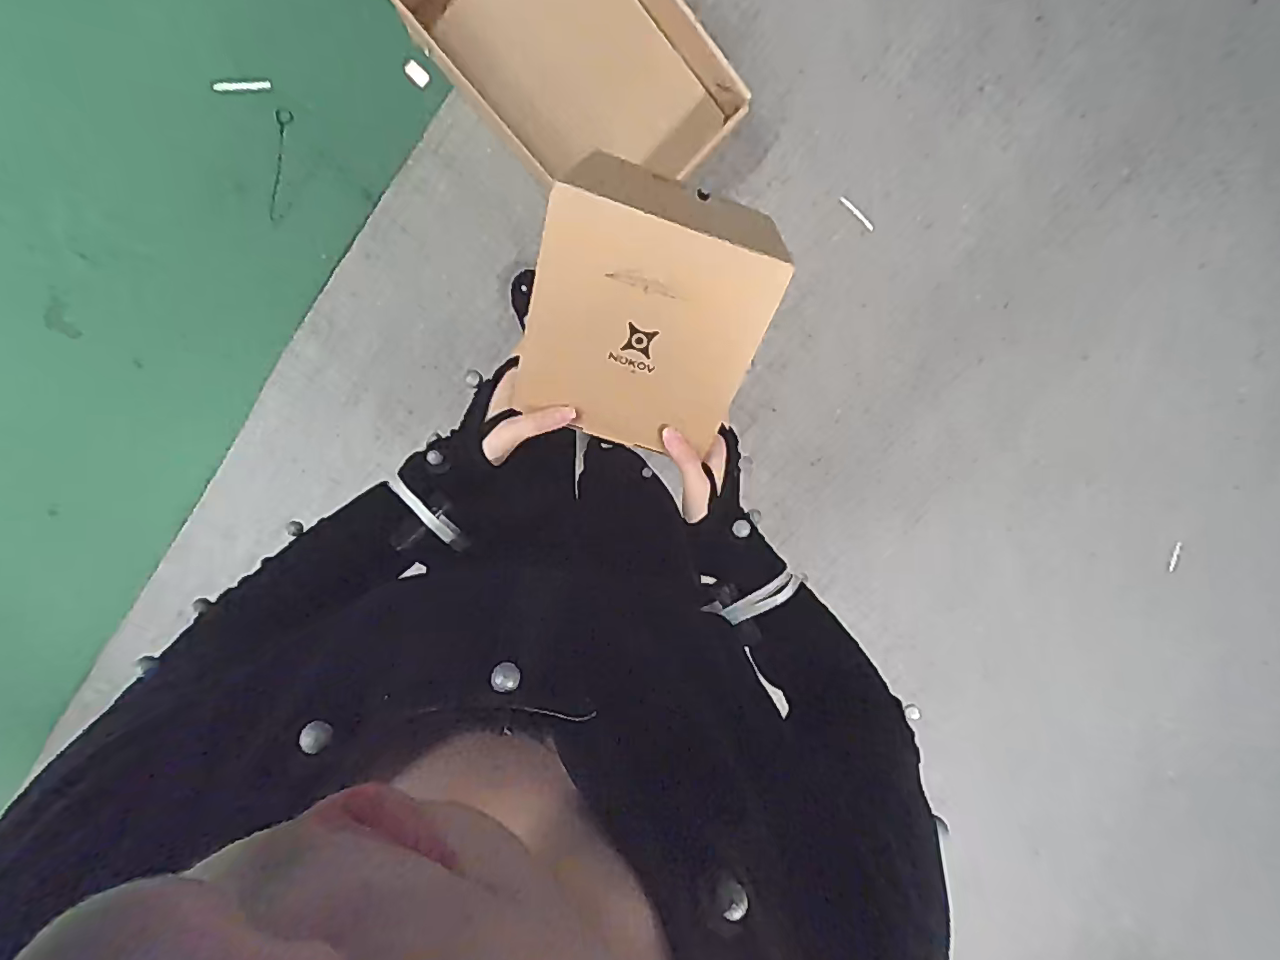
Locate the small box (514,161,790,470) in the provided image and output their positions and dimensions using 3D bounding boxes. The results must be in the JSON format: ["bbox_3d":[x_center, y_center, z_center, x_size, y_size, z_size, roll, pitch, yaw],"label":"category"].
[{"bbox_3d":[0.007,-0.144,0.463,0.168,0.176,0.179,17,126,-7],"label":"small box"}]
